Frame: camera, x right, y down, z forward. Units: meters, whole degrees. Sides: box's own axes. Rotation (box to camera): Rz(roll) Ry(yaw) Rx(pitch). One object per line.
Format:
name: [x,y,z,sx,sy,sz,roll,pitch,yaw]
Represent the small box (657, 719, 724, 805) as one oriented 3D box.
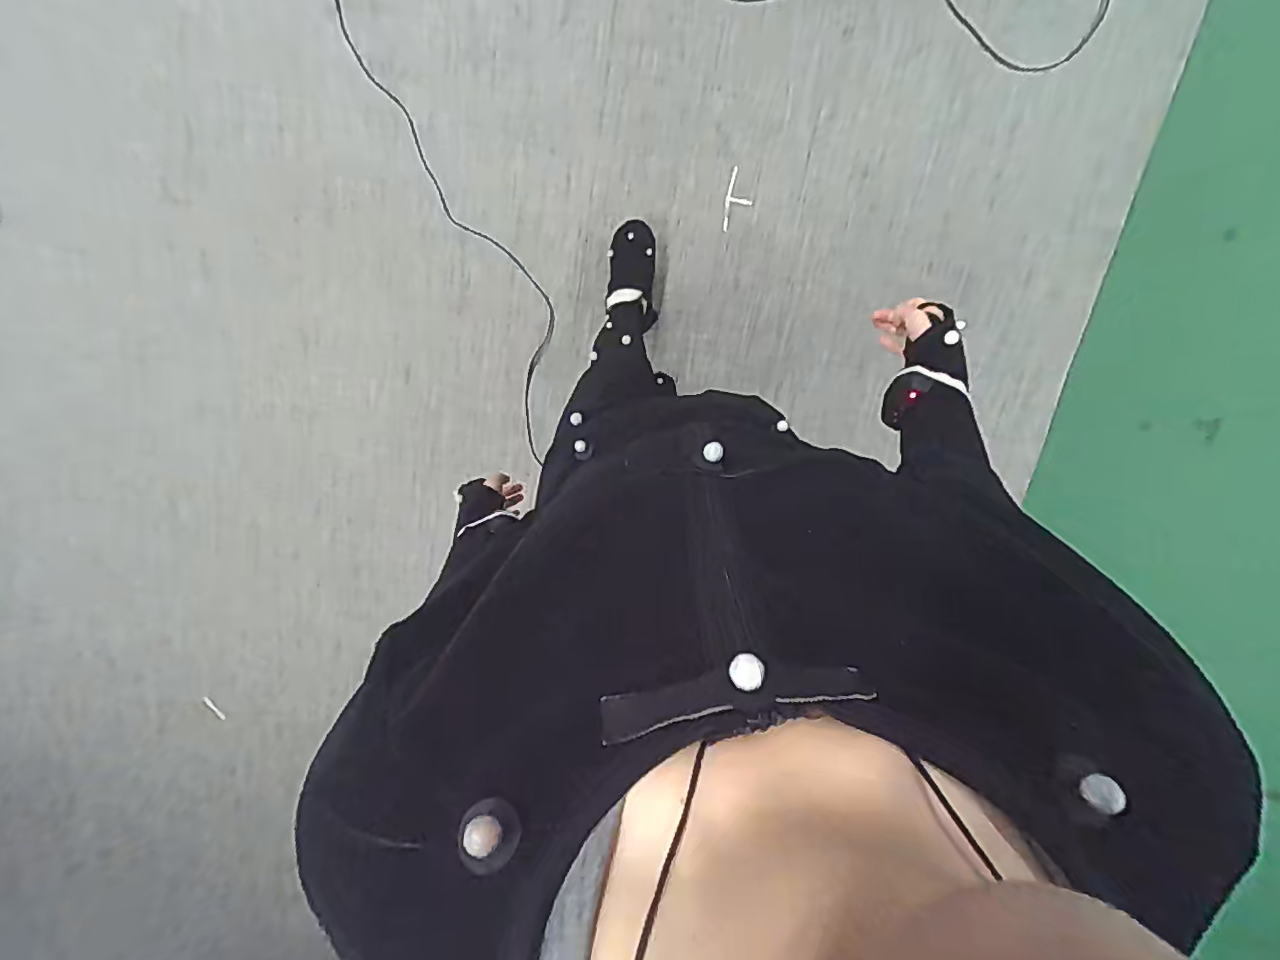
small box: [0.147,0.862,1.662,0.179,0.176,0.168,5,105,-3]
